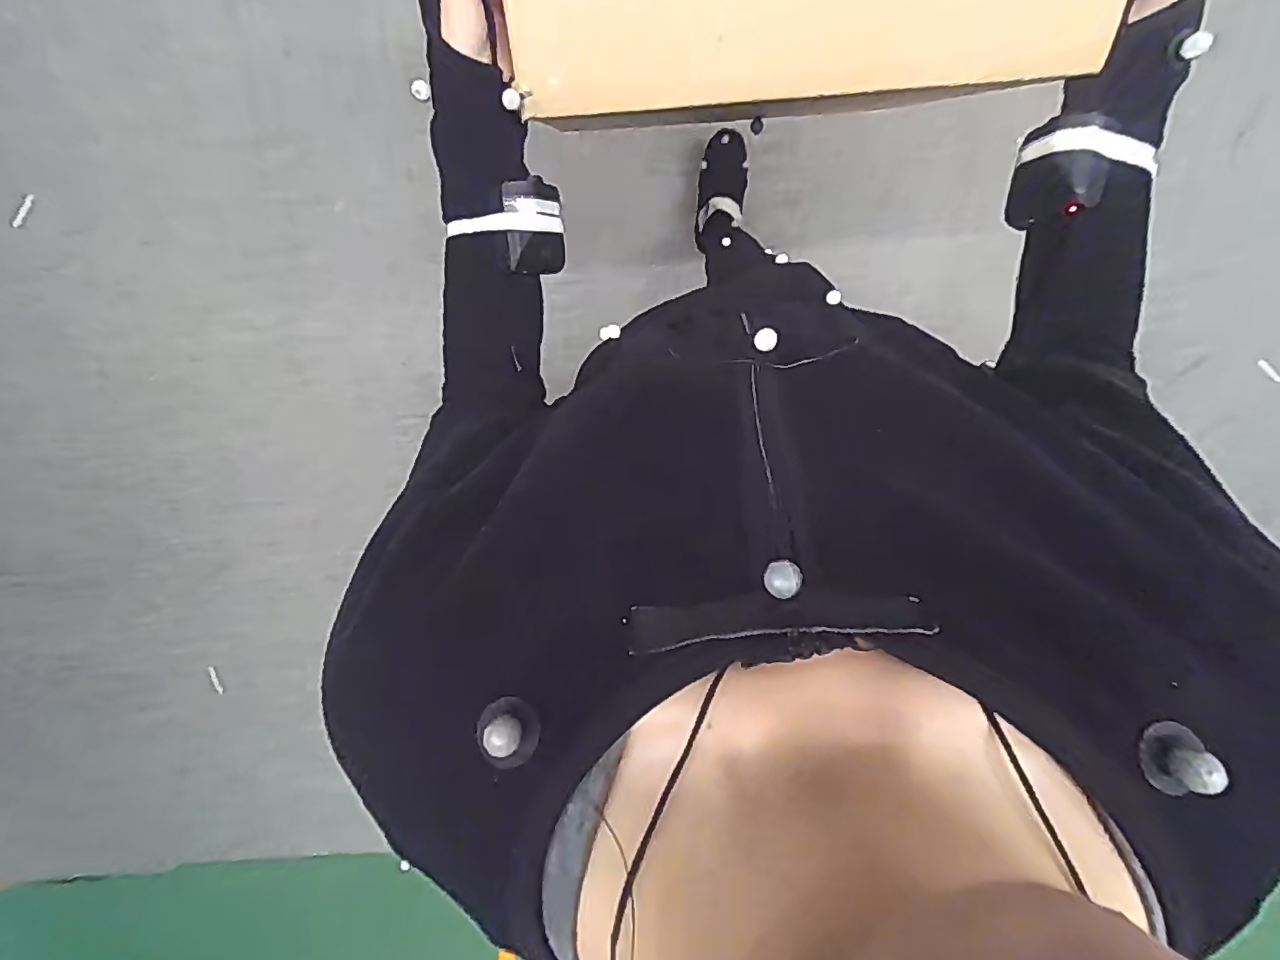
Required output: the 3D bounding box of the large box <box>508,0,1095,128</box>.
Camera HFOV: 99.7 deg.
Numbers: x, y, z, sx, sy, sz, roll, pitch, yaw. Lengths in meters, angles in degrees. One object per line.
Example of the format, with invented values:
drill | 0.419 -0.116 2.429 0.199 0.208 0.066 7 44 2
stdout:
large box | 0.099 -0.485 0.434 0.408 0.320 0.320 -5 121 0
